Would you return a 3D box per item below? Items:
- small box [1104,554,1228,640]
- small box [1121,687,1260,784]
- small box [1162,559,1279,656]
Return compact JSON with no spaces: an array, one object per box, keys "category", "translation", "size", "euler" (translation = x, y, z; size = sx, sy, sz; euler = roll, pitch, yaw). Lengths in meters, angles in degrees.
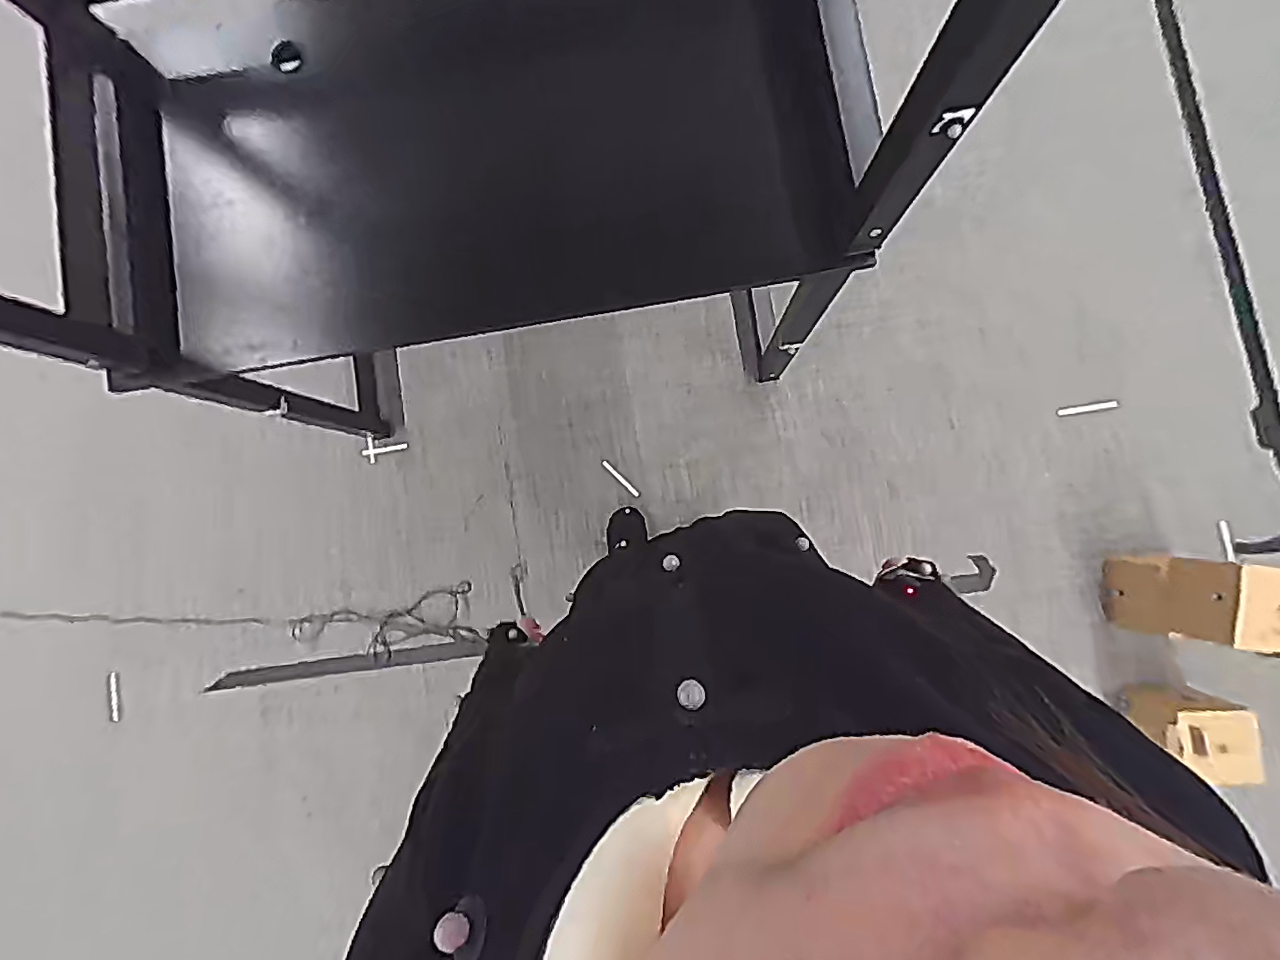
[{"category":"small box","translation":[1.295,0.282,1.331],"size":[0.168,0.176,0.179],"euler":[-4,87,4]},{"category":"small box","translation":[1.318,0.613,1.312],"size":[0.179,0.176,0.168],"euler":[-3,87,3]},{"category":"small box","translation":[1.287,0.271,1.166],"size":[0.168,0.176,0.179],"euler":[9,87,5]}]
